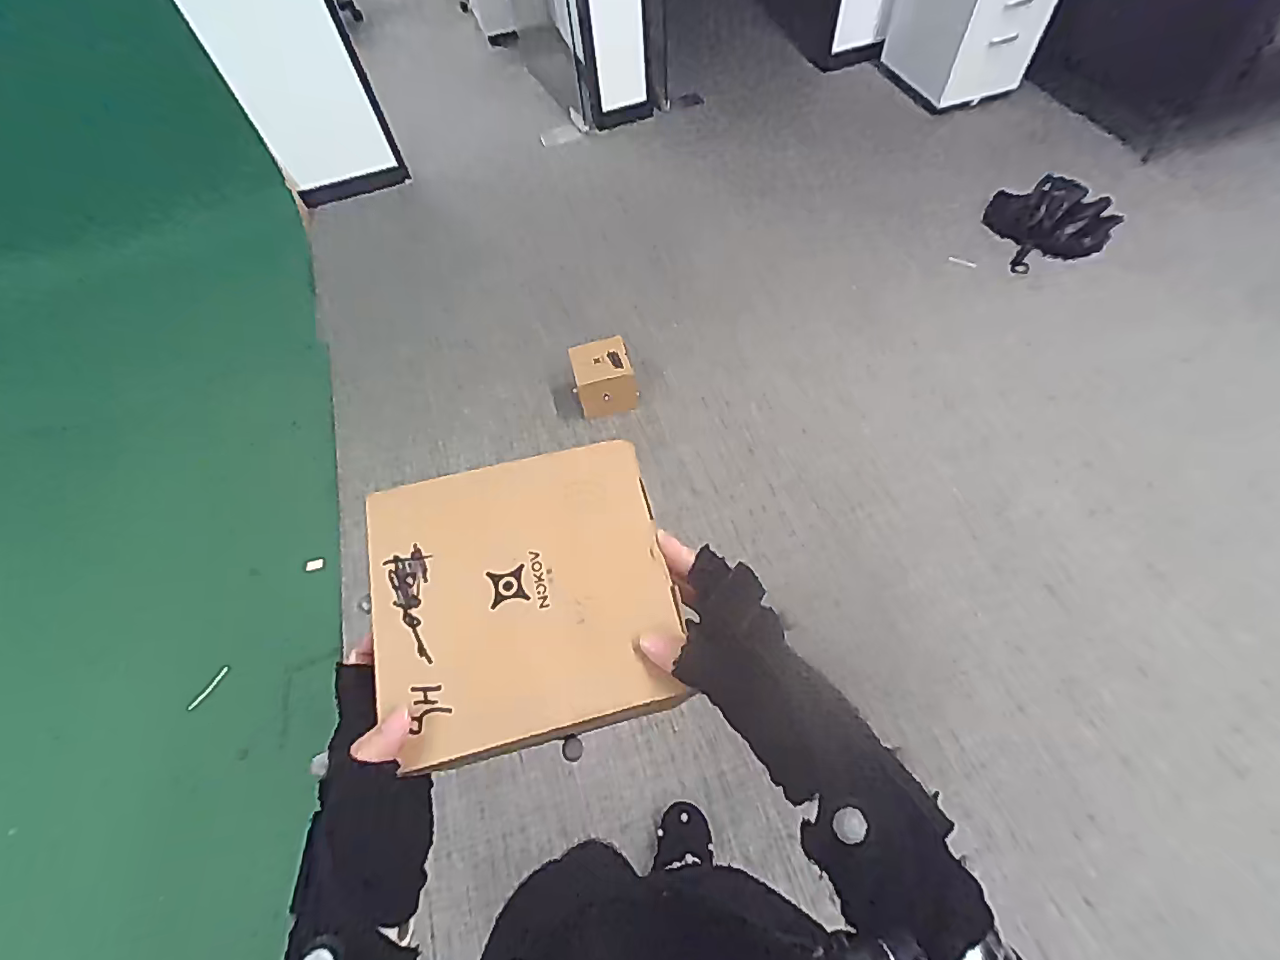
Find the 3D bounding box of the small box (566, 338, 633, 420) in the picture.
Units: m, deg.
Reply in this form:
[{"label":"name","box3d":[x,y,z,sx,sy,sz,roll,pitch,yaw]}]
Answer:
[{"label":"small box","box3d":[-0.123,-0.318,1.721,0.179,0.176,0.168,-14,59,-2]}]

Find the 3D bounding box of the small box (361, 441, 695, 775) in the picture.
[{"label":"small box","box3d":[-0.076,0.097,0.400,0.179,0.176,0.168,-15,66,-9]}]
